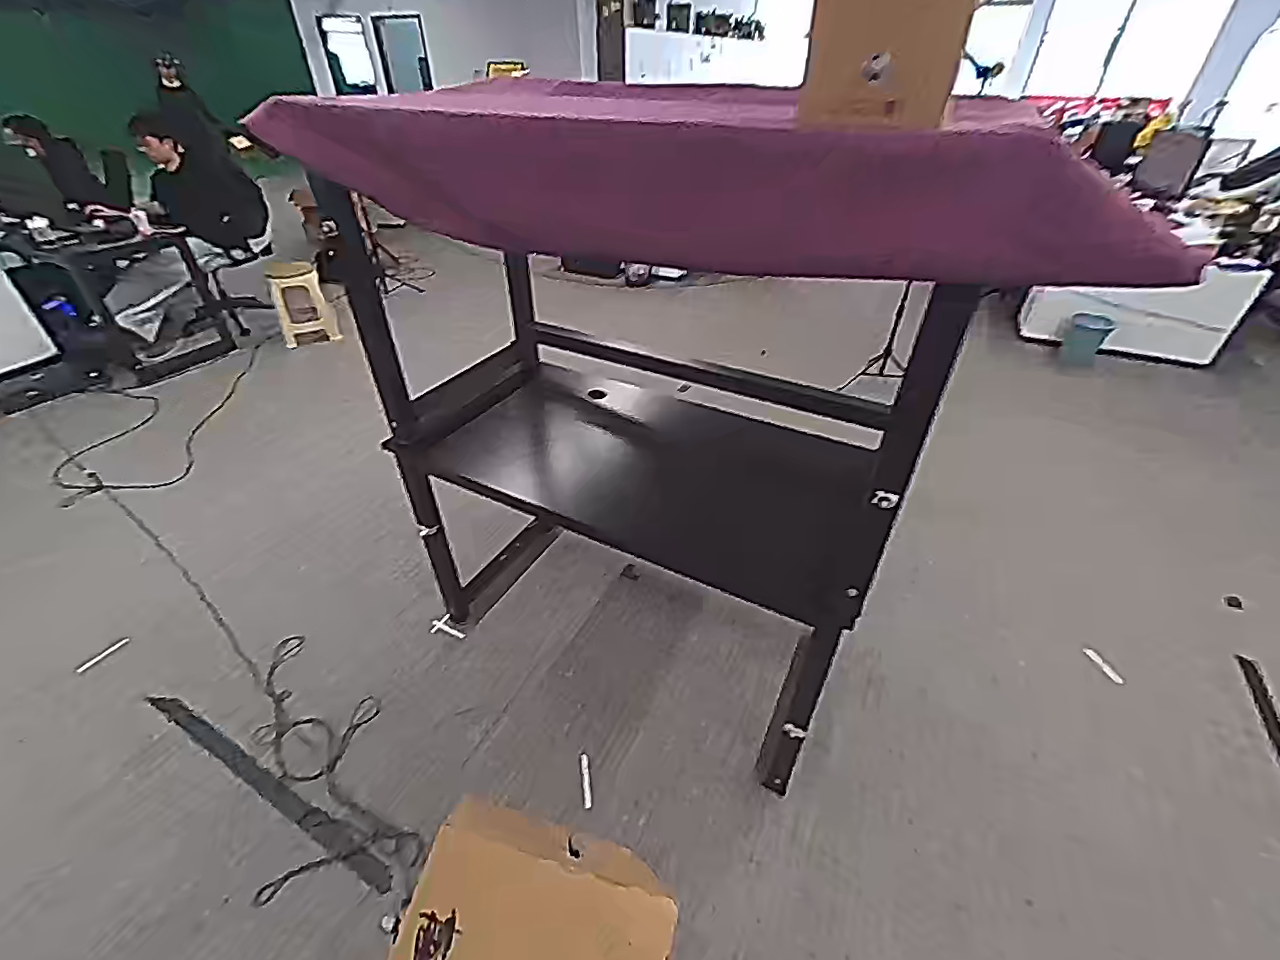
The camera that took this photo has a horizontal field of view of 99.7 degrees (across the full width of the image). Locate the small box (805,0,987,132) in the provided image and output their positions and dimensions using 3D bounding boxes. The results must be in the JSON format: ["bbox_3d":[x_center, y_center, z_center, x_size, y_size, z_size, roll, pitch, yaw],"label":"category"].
[{"bbox_3d":[0.303,-0.518,0.635,0.168,0.176,0.179,16,39,21],"label":"small box"}]

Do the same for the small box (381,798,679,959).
[{"bbox_3d":[-0.095,0.354,0.398,0.179,0.176,0.168,21,63,-5],"label":"small box"}]
